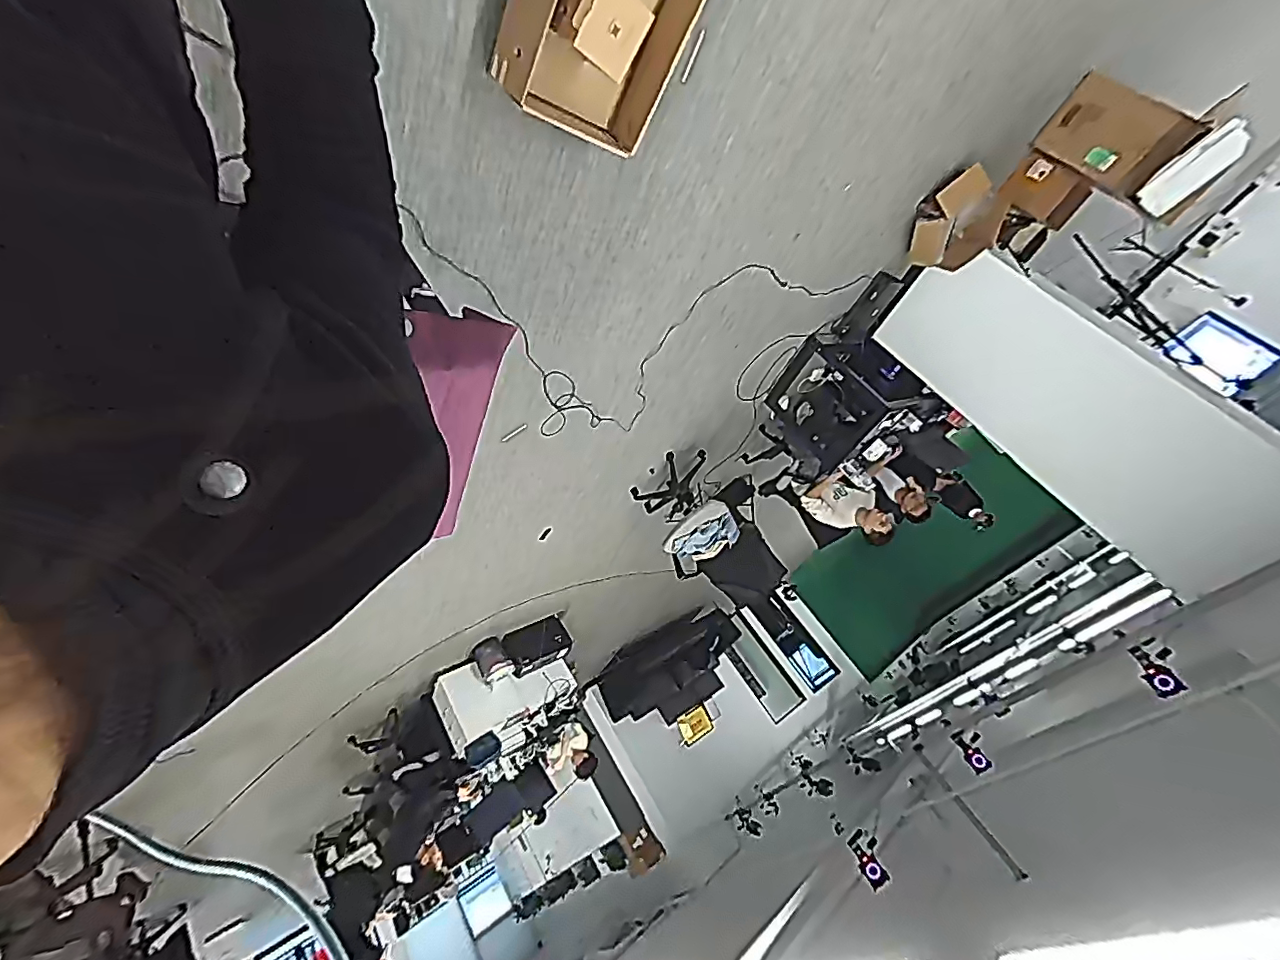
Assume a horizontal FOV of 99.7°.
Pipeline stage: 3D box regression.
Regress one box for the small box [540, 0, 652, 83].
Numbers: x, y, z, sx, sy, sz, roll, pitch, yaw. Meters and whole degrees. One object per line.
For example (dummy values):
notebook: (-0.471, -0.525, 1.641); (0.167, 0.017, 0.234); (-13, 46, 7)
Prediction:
small box: (-0.112, -1.133, 1.322); (0.179, 0.176, 0.168); (-1, 137, -52)
